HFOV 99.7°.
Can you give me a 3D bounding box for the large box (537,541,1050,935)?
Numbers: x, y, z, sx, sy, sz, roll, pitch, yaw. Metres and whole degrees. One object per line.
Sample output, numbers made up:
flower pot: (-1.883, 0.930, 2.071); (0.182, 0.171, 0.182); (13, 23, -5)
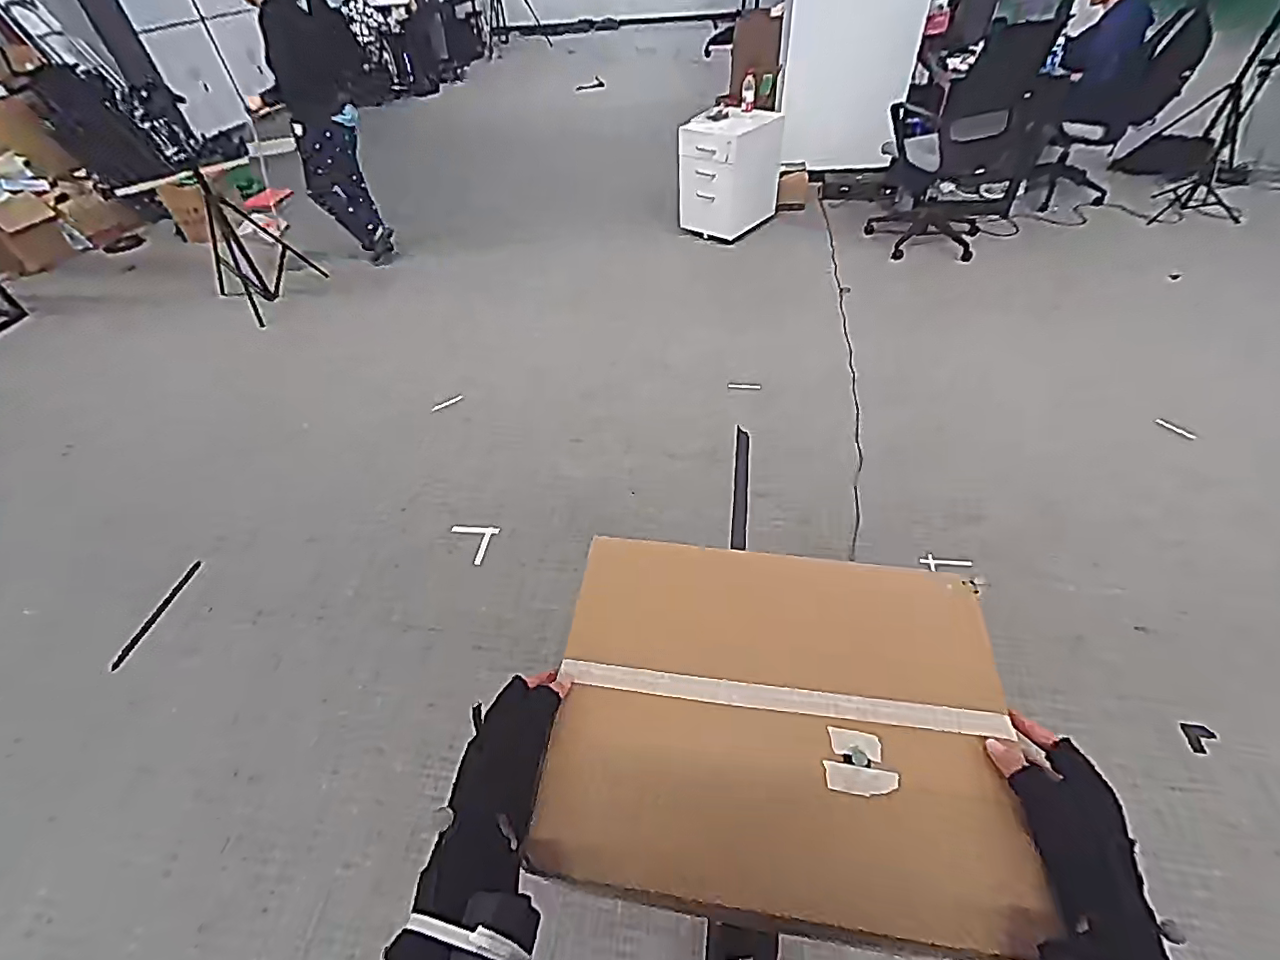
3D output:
large box: (0.133, 0.297, 0.627); (0.408, 0.320, 0.320); (5, 52, 7)
